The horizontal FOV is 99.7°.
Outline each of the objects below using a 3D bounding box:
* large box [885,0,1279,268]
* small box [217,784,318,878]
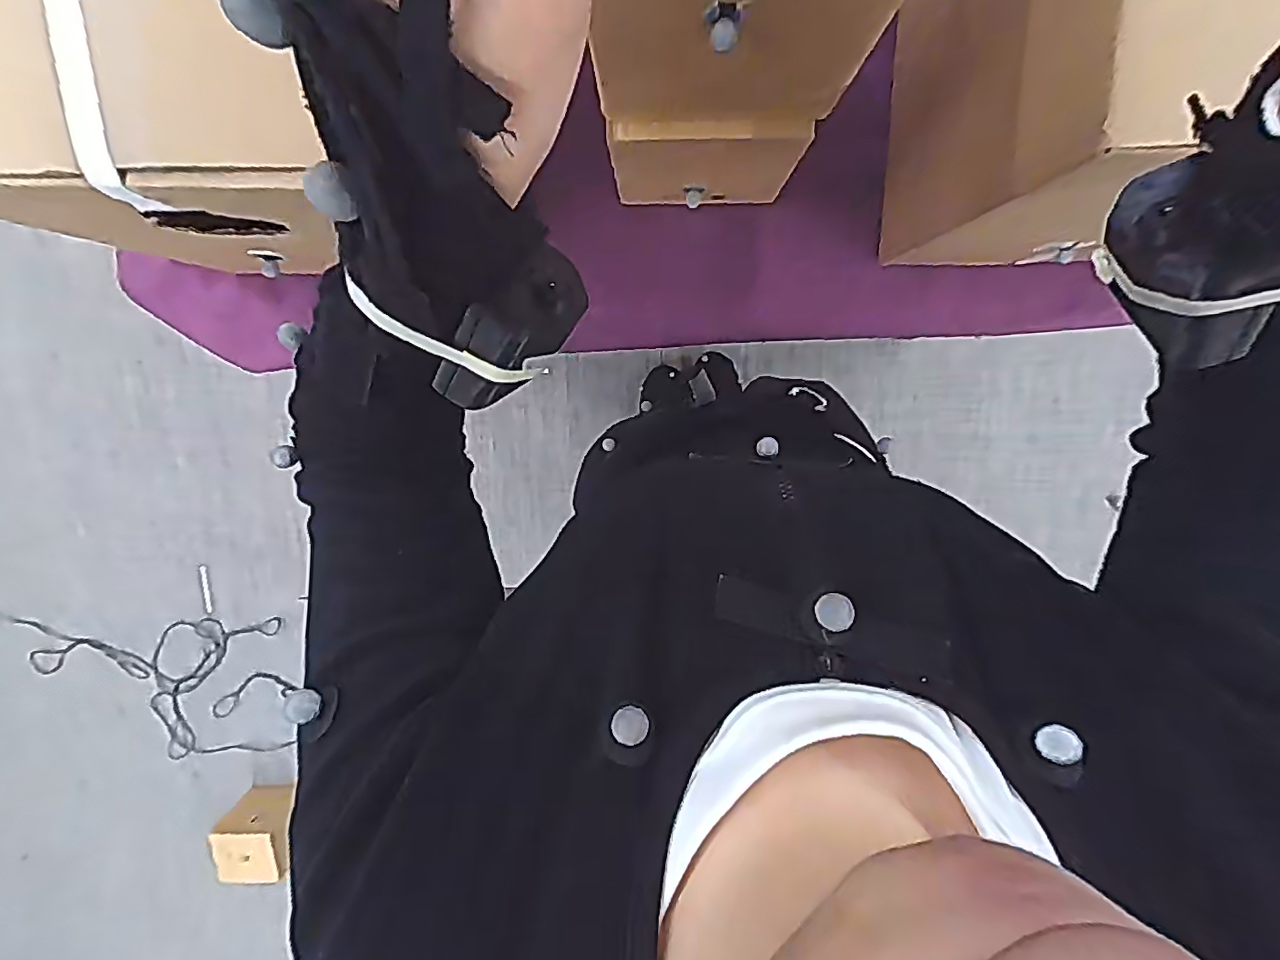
[{"bbox_3d":[0.399,-0.400,0.397,0.320,0.320,0.408,0,100,2],"label":"large box"},{"bbox_3d":[-1.069,1.013,1.571,0.179,0.176,0.168,-1,102,3],"label":"small box"}]
